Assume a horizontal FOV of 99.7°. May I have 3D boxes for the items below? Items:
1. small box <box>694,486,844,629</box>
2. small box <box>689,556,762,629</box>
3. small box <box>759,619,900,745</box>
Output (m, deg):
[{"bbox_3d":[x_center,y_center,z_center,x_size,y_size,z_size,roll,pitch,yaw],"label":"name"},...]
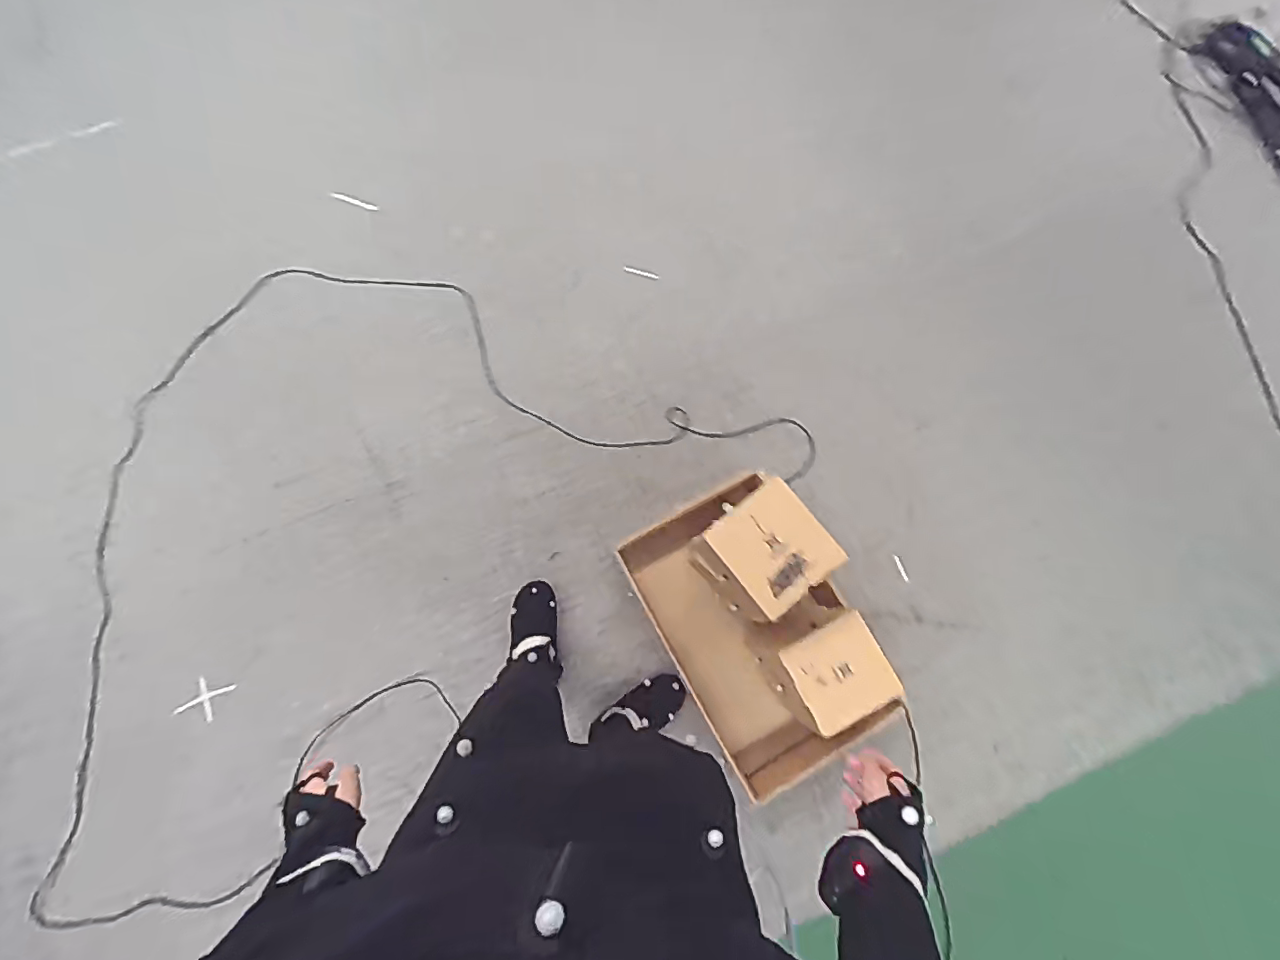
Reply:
[{"bbox_3d":[0.213,0.136,0.948,0.168,0.176,0.179,-37,81,-8],"label":"small box"},{"bbox_3d":[0.219,0.178,1.106,0.168,0.176,0.179,-44,82,-9],"label":"small box"},{"bbox_3d":[0.358,0.381,1.058,0.179,0.176,0.168,-26,78,-6],"label":"small box"}]
